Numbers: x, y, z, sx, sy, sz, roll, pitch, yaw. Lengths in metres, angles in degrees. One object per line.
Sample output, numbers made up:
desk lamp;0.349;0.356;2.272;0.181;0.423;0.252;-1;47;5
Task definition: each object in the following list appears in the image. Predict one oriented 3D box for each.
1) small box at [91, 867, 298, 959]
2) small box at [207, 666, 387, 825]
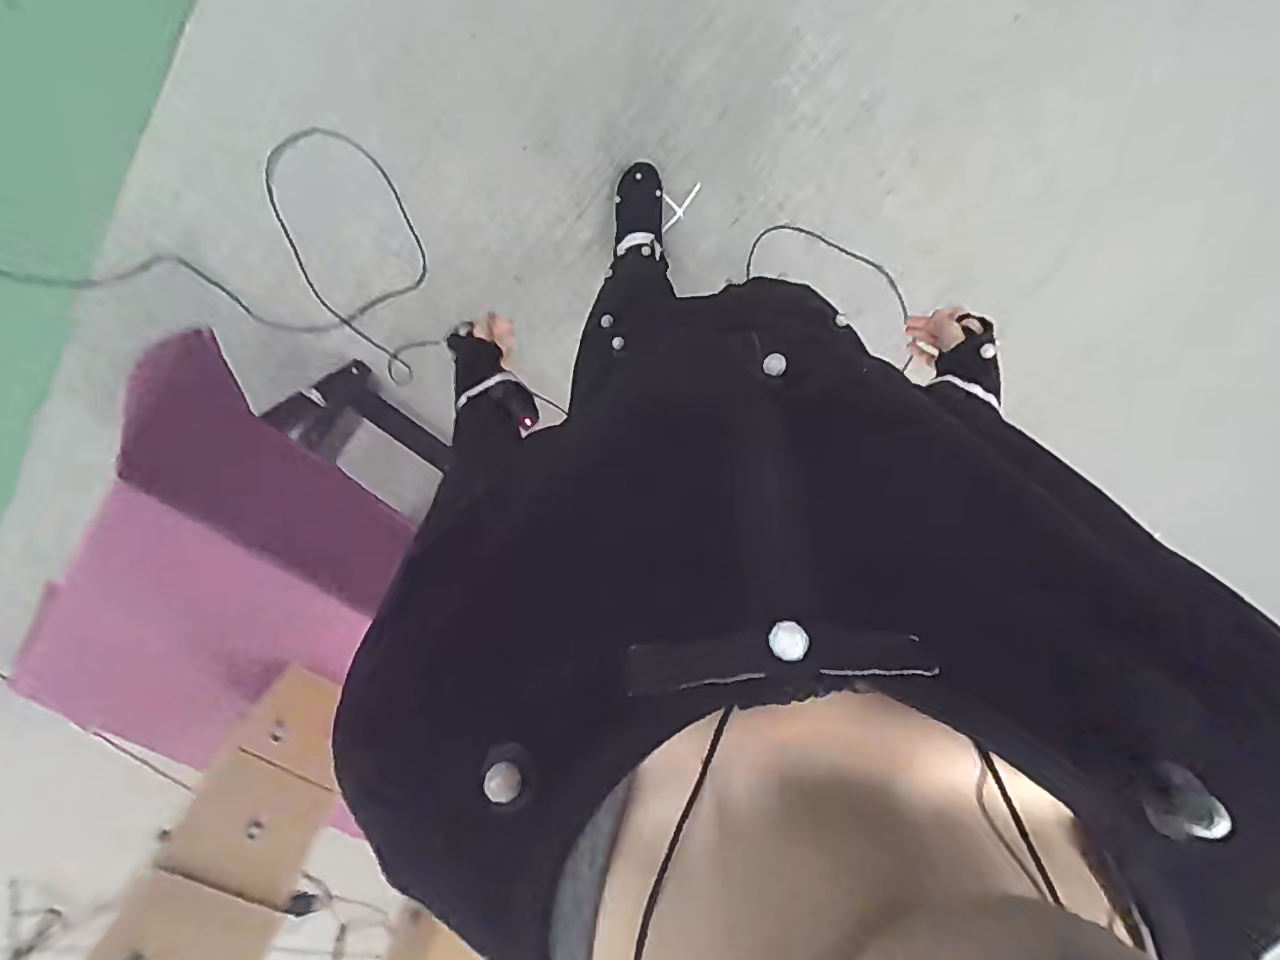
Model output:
small box;-0.577;0.615;0.665;0.179;0.176;0.168;39;113;-19
small box;-0.591;0.458;0.953;0.179;0.176;0.168;40;113;-19
